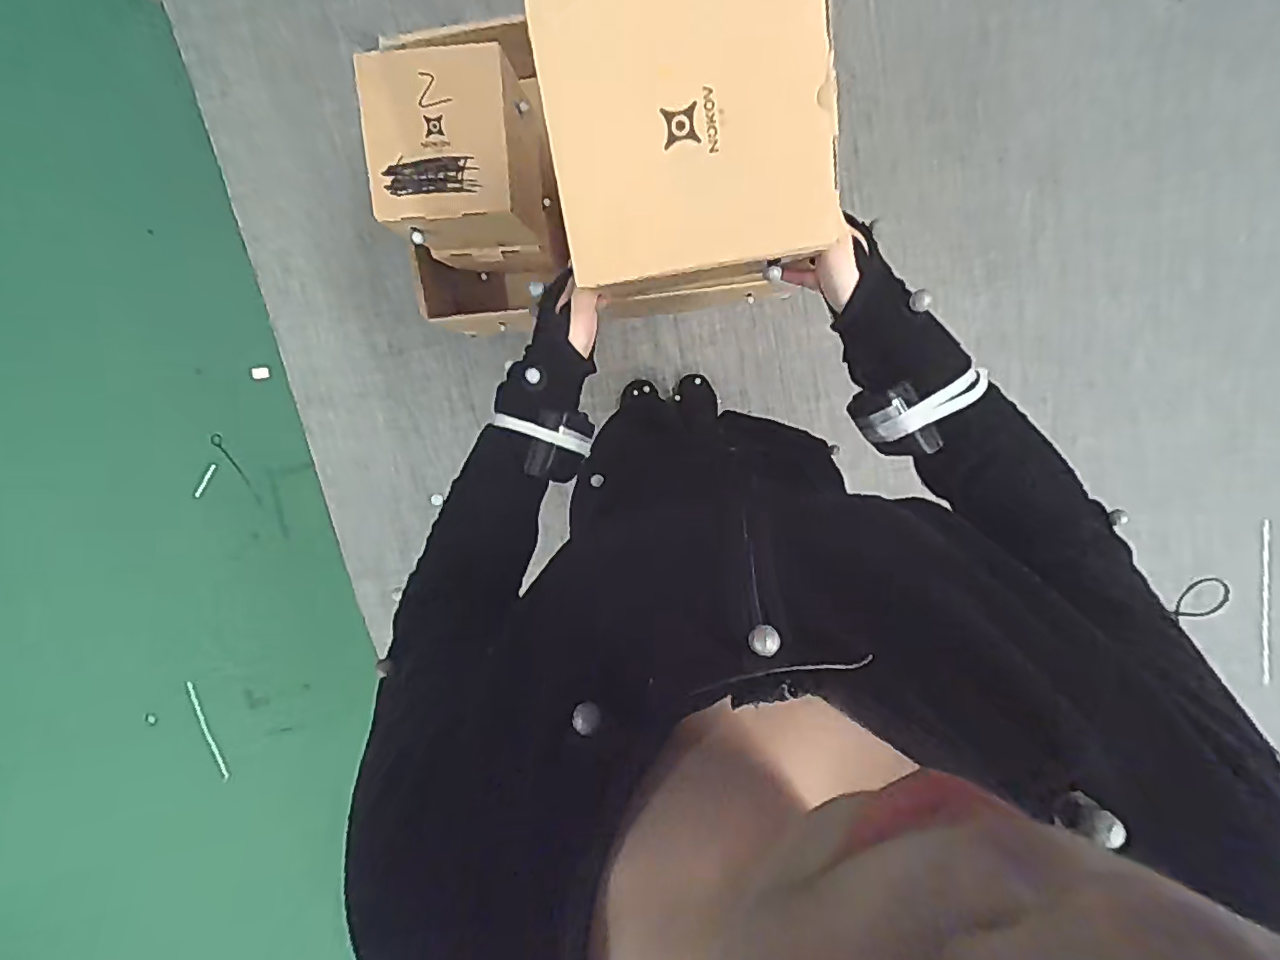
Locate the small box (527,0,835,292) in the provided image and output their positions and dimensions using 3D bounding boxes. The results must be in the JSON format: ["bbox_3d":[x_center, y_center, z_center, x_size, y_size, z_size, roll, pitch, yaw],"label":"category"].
[{"bbox_3d":[0.034,-0.242,0.409,0.179,0.176,0.168,-7,106,6],"label":"small box"}]
